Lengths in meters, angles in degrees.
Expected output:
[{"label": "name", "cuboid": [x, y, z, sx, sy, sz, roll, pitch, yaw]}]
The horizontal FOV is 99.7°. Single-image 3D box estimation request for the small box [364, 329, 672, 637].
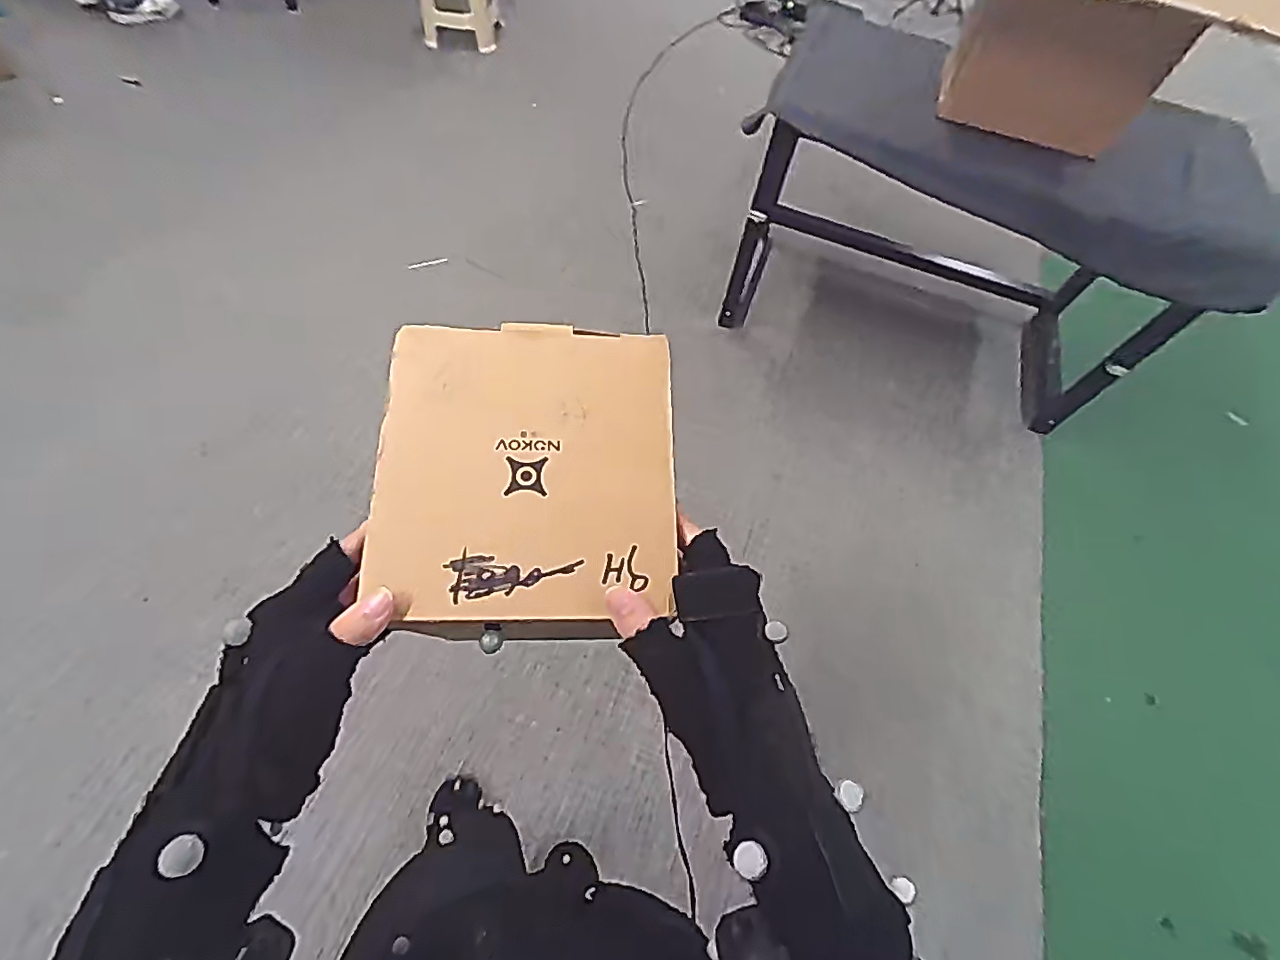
[{"label": "small box", "cuboid": [-0.070, 0.016, 0.391, 0.168, 0.176, 0.179, 1, 71, -4]}]
